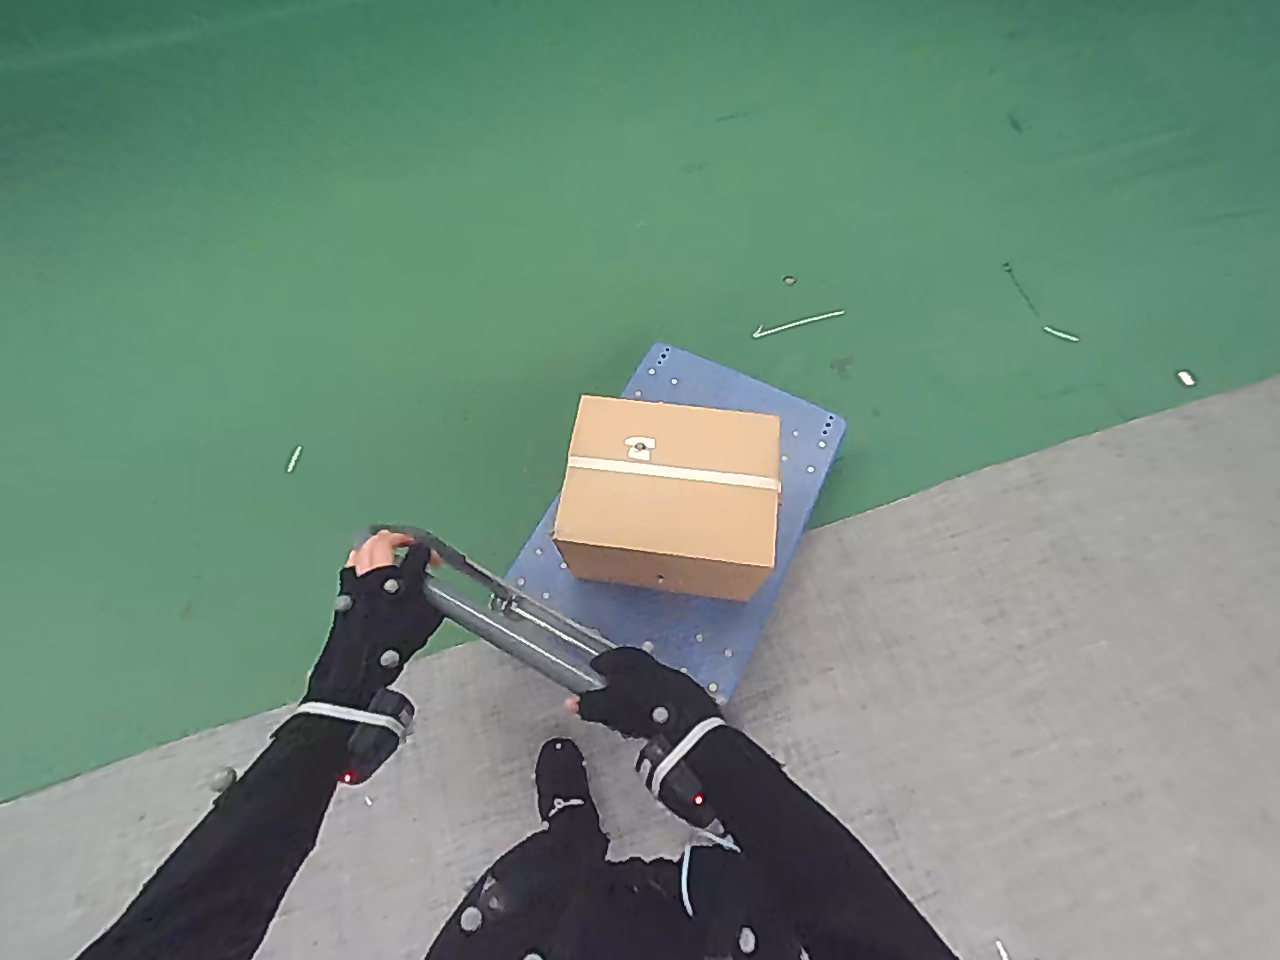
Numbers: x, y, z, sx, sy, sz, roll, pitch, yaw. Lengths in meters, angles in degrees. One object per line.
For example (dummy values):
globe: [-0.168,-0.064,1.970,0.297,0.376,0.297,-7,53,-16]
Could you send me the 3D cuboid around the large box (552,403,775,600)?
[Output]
large box: [0.062,0.060,1.166,0.408,0.320,0.320,7,66,6]
